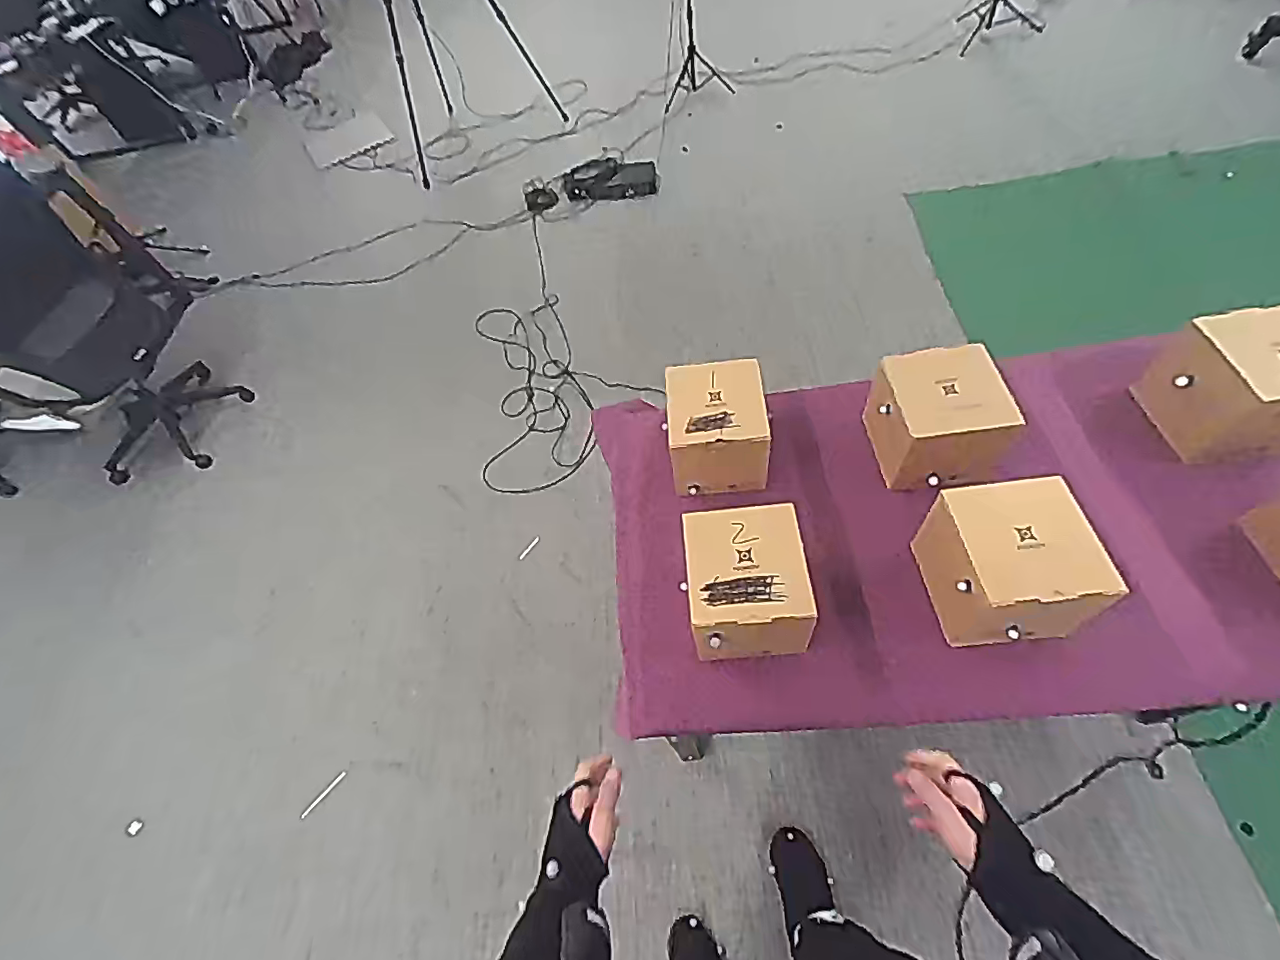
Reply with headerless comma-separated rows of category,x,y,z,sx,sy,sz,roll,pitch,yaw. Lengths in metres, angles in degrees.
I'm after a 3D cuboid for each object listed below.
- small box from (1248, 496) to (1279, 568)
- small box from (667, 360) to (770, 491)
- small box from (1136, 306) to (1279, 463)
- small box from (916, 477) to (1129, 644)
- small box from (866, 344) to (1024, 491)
small box,0.996,0.076,0.714,0.168,0.176,0.179,-7,56,8
small box,0.141,-0.090,0.982,0.168,0.176,0.179,-5,58,7
small box,0.971,-0.151,0.871,0.168,0.176,0.179,-8,56,6
small box,0.525,0.120,0.780,0.168,0.176,0.179,-7,56,5
small box,0.504,-0.103,0.928,0.168,0.176,0.179,-7,57,7
